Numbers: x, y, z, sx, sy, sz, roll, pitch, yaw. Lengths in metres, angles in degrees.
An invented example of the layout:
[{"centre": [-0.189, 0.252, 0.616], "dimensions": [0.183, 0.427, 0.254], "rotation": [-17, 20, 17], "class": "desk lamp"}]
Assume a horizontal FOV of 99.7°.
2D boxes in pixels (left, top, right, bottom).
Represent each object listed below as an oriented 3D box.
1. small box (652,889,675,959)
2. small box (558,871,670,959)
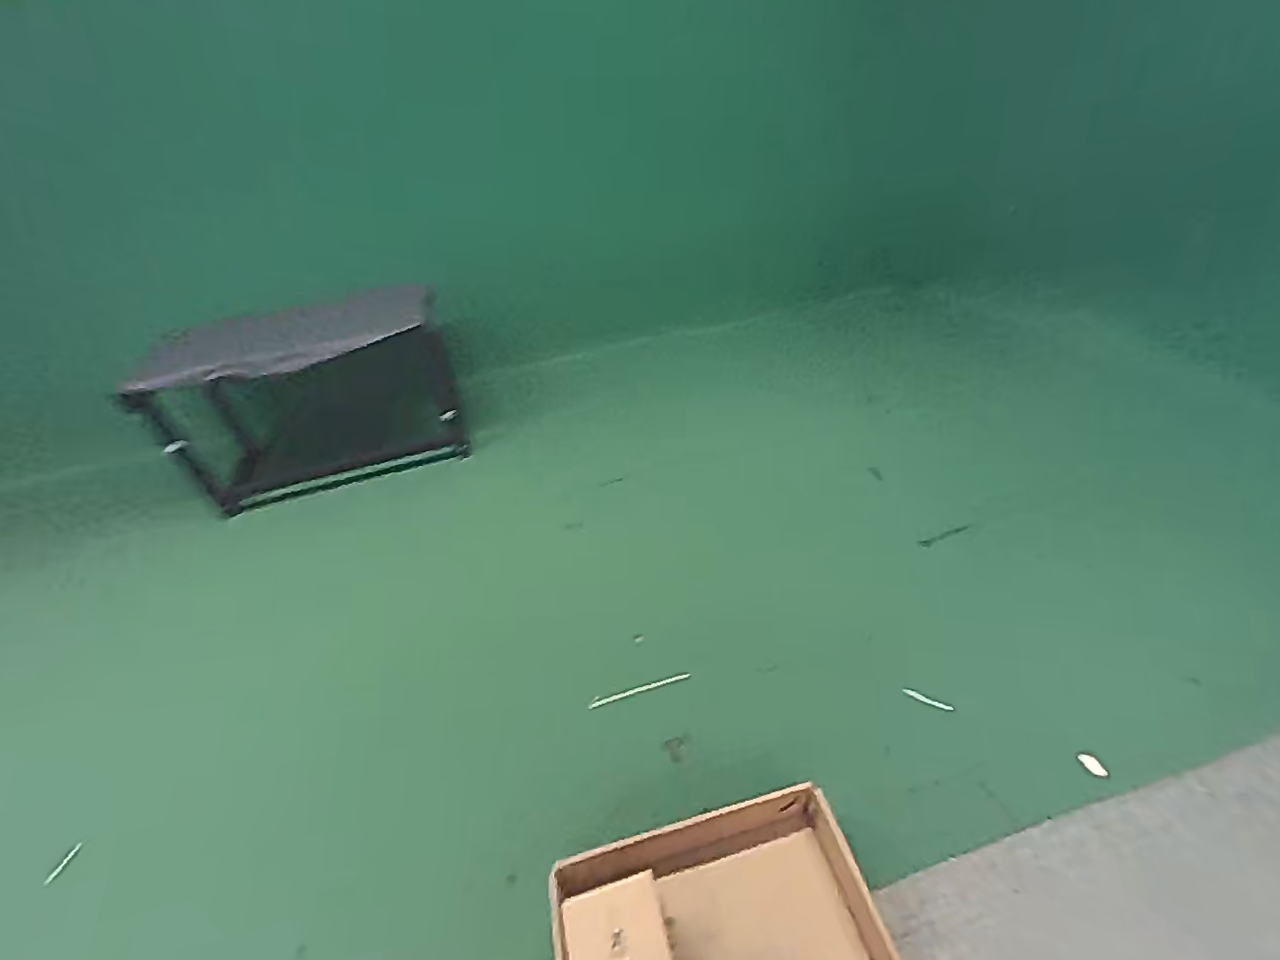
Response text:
[{"centre": [-0.016, 0.942, 1.041], "dimensions": [0.168, 0.176, 0.179], "rotation": [-15, 39, -9], "class": "small box"}, {"centre": [-0.036, 0.822, 0.930], "dimensions": [0.168, 0.176, 0.179], "rotation": [-13, 38, -9], "class": "small box"}]
